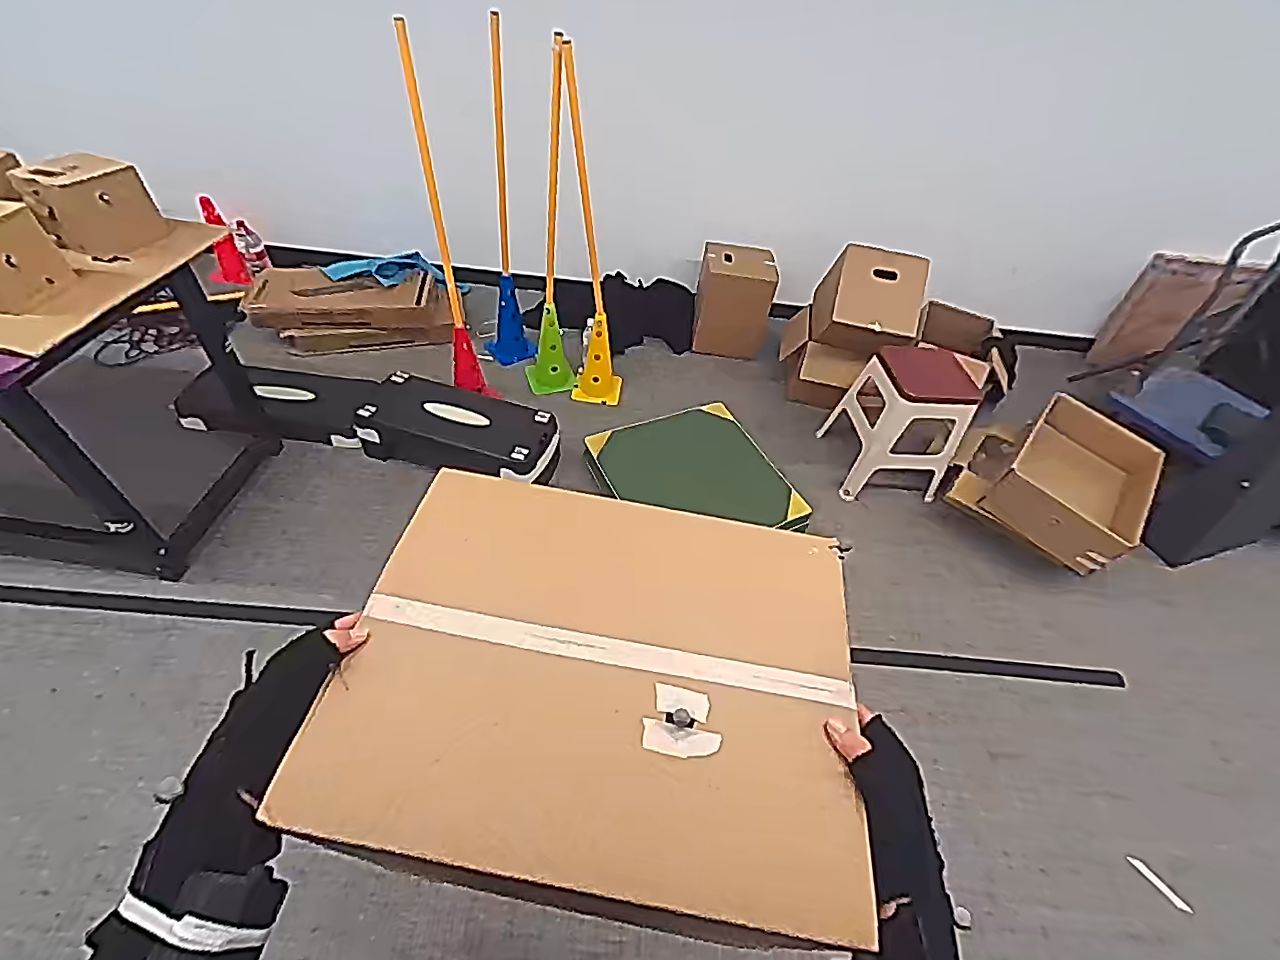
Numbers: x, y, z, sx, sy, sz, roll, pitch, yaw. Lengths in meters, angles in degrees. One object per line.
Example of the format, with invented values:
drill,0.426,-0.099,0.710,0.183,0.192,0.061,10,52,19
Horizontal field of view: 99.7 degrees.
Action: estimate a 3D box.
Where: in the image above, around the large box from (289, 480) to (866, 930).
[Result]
large box,-0.038,0.240,0.569,0.408,0.320,0.320,10,50,2
